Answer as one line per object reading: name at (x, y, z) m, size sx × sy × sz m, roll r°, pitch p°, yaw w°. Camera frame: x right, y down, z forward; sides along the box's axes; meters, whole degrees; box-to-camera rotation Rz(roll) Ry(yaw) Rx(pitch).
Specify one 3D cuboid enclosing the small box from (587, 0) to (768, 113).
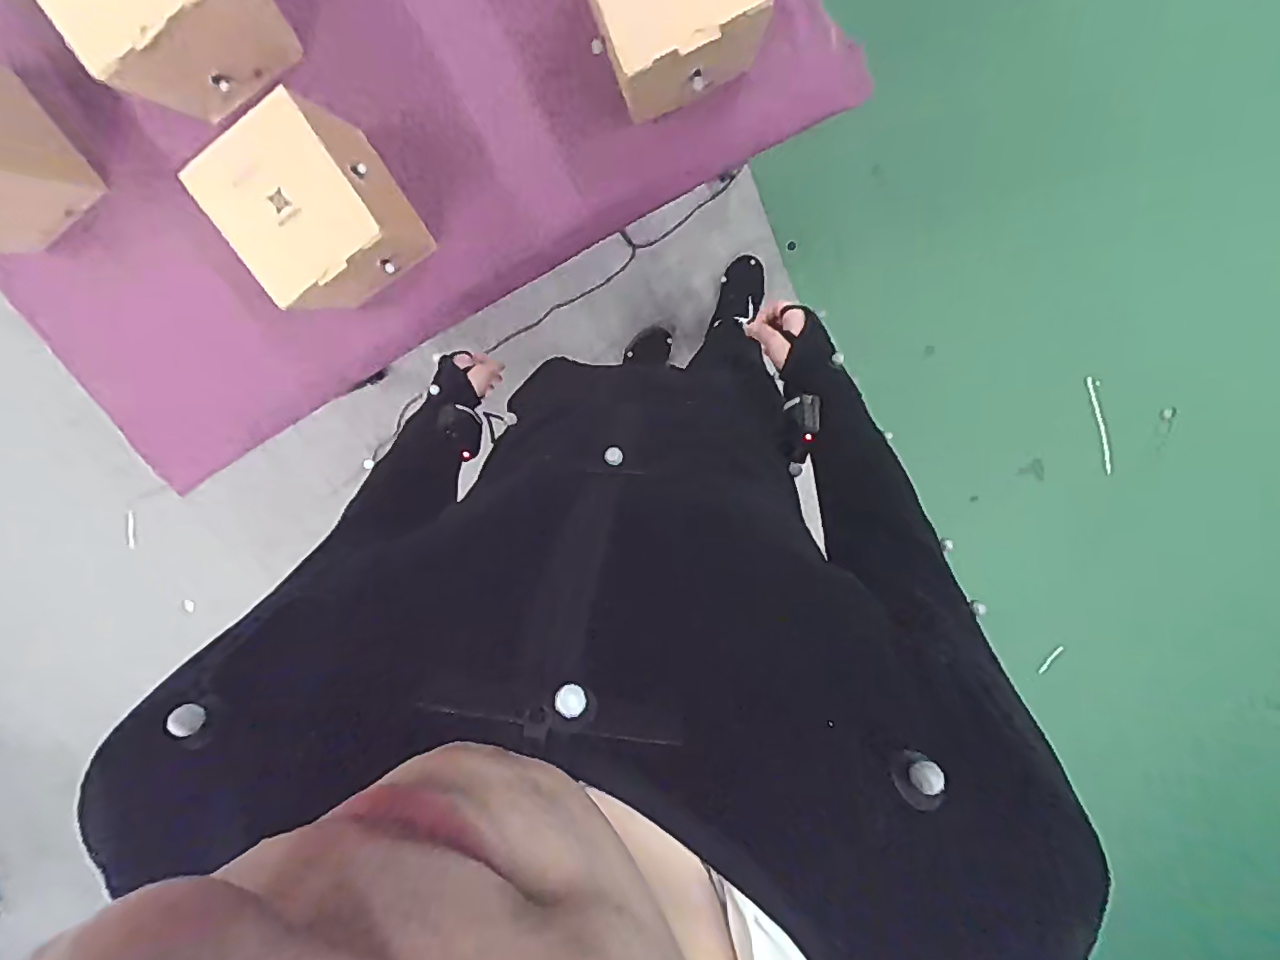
small box at (0.028, -0.544, 0.600) m, size 0.168 × 0.176 × 0.179 m, roll -21°, pitch 106°, yaw 10°

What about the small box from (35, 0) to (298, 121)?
small box at (-0.554, -0.561, 0.621) m, size 0.168 × 0.176 × 0.179 m, roll -27°, pitch 107°, yaw 11°

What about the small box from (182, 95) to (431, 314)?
small box at (-0.406, -0.336, 0.695) m, size 0.168 × 0.176 × 0.179 m, roll -29°, pitch 105°, yaw 11°
